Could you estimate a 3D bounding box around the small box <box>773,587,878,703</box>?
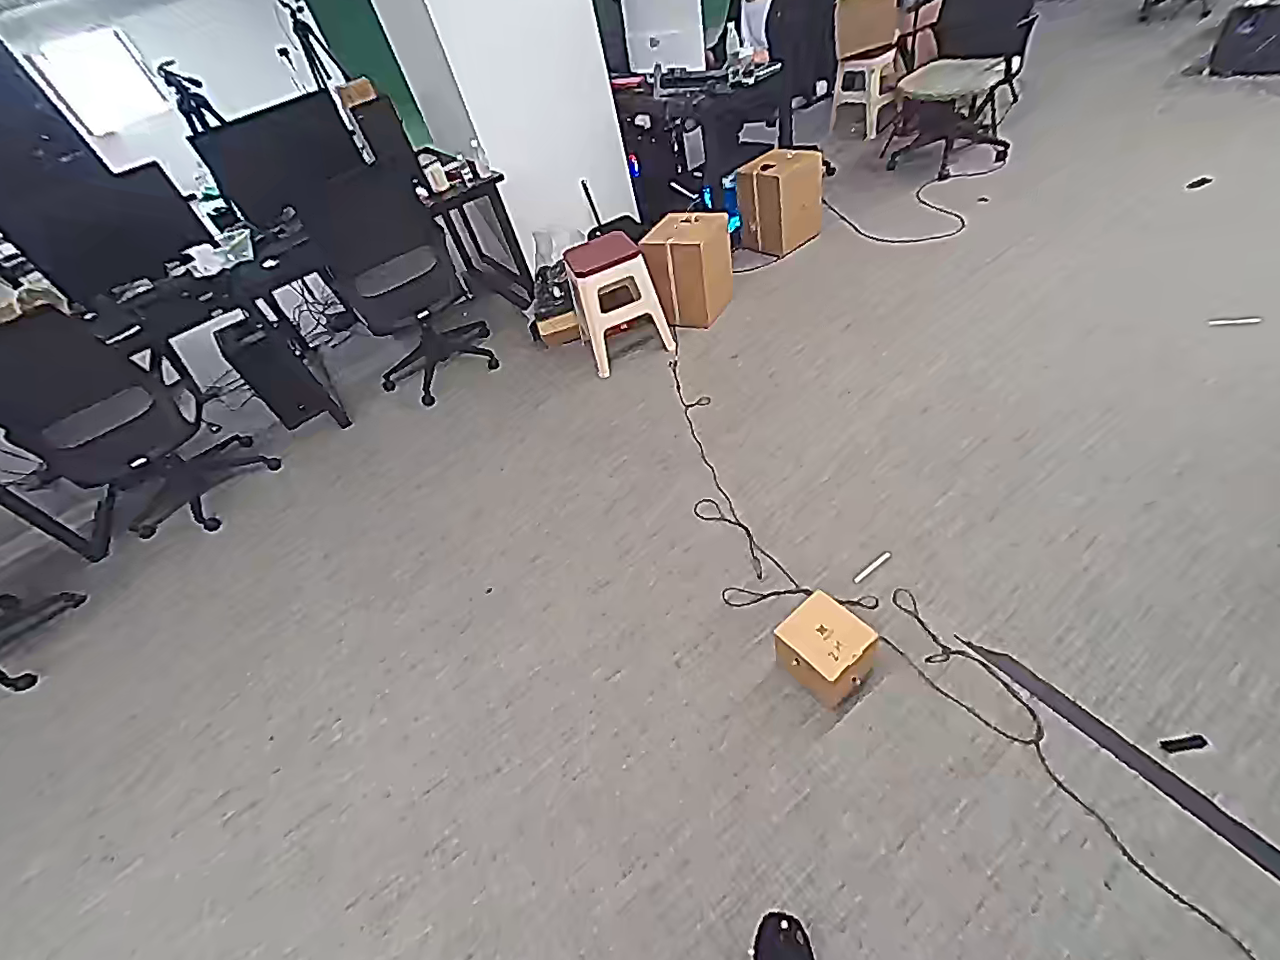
[{"bbox_3d":[0.445,0.403,1.311,0.168,0.176,0.179,-36,48,-16],"label":"small box"}]
